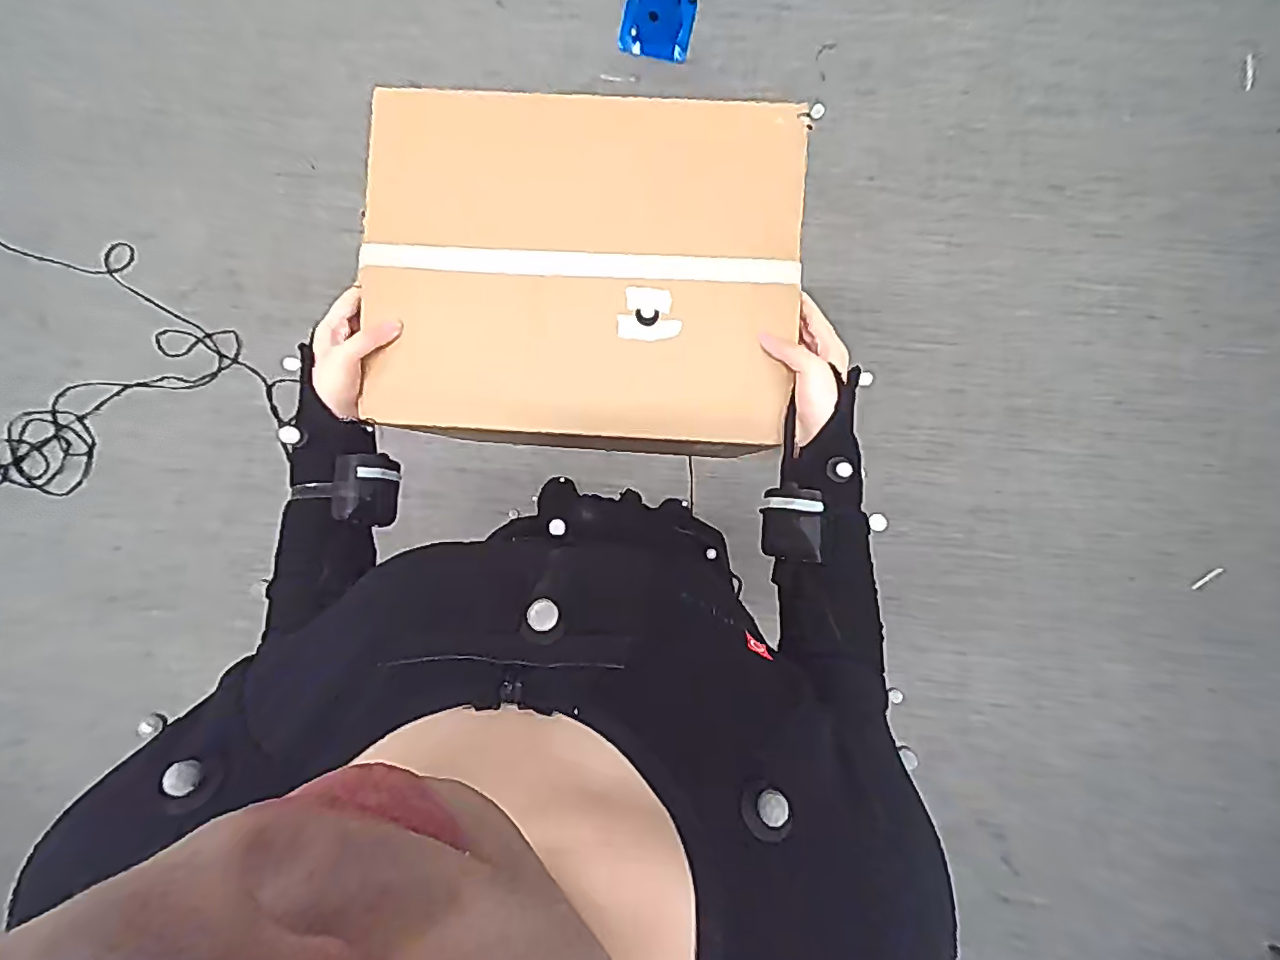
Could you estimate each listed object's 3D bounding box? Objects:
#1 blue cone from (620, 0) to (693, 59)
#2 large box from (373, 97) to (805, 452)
[{"bbox_3d":[0.045,-1.314,1.384,0.193,0.380,0.192,13,88,1],"label":"blue cone"},{"bbox_3d":[-0.050,-0.202,0.657,0.408,0.320,0.320,3,91,0],"label":"large box"}]
